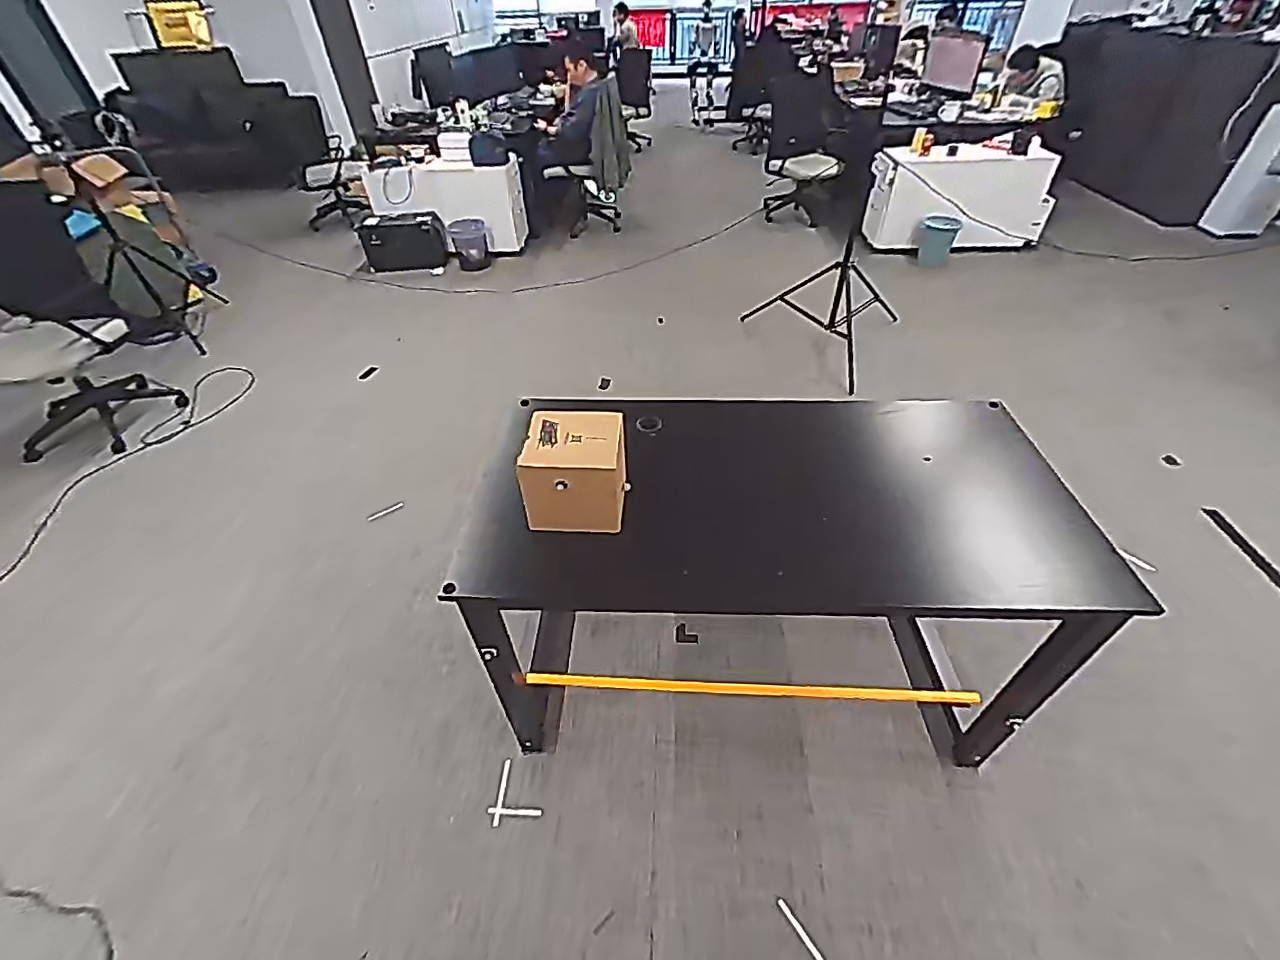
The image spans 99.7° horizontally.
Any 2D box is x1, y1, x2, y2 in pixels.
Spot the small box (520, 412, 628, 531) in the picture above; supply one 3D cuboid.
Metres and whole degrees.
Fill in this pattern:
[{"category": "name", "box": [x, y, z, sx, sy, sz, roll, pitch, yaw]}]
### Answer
[{"category": "small box", "box": [-0.119, -0.015, 1.053, 0.179, 0.176, 0.168, 2, 43, 3]}]
